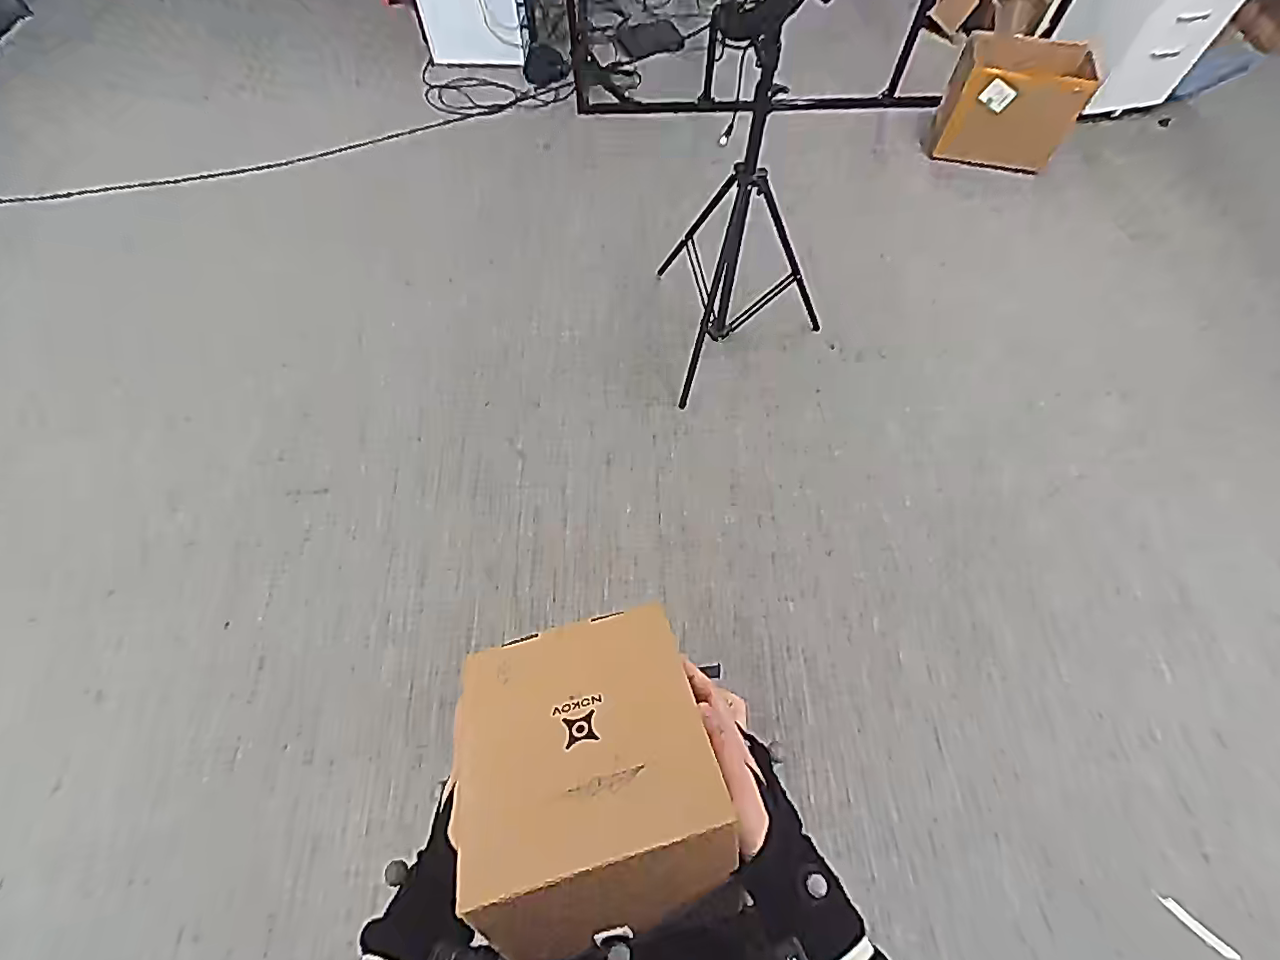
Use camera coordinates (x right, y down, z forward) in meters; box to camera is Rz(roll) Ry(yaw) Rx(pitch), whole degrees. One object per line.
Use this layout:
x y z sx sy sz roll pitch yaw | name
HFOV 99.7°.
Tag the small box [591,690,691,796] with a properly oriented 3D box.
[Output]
0.006 0.525 1.081 0.179 0.176 0.168 5 64 3 | small box
